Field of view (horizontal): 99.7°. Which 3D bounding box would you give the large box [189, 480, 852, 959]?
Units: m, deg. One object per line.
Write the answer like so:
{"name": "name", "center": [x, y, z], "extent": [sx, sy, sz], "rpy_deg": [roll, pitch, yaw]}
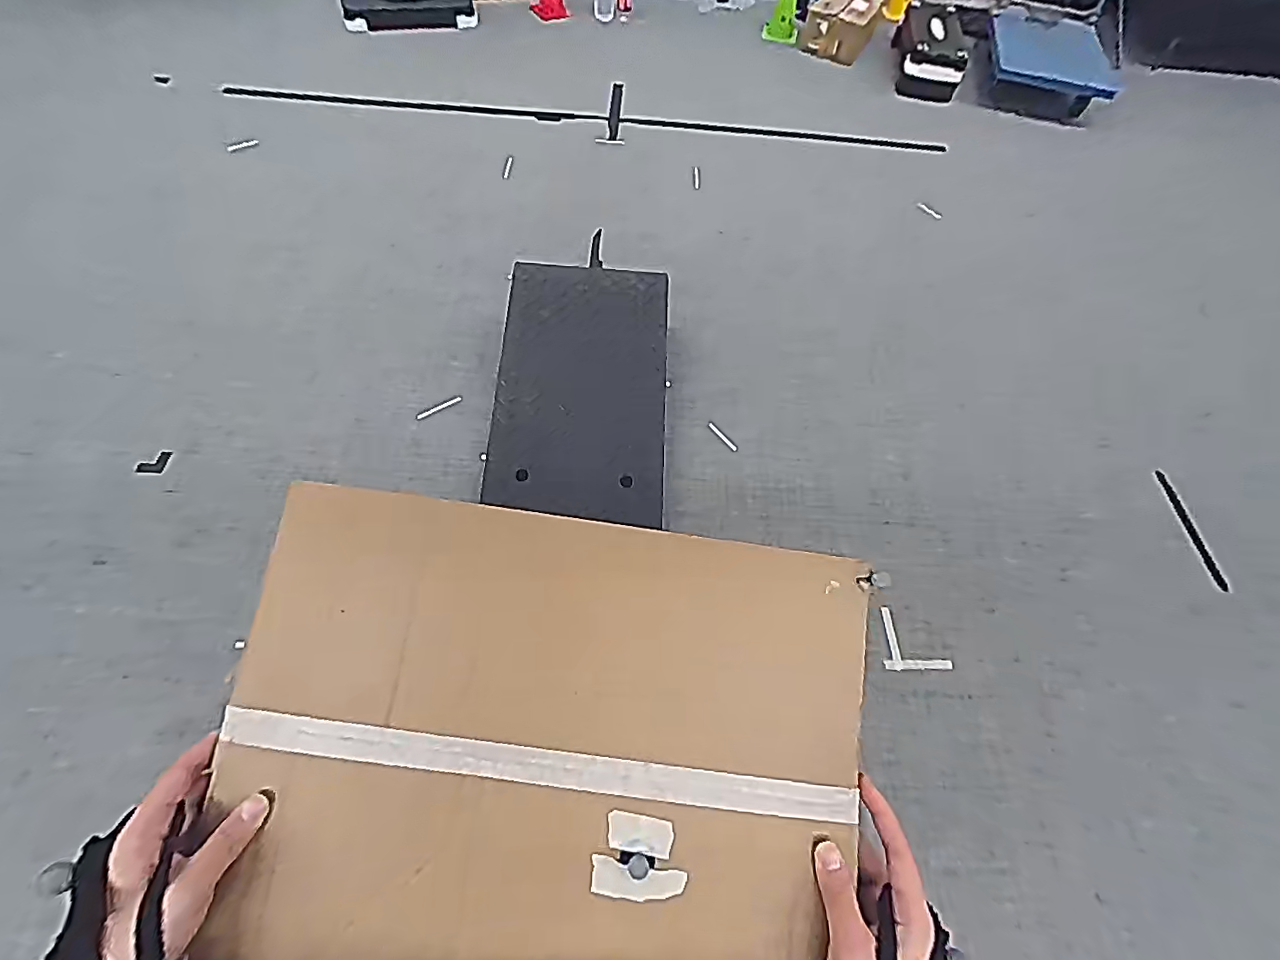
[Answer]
{"name": "large box", "center": [-0.068, 0.201, 0.505], "extent": [0.408, 0.320, 0.320], "rpy_deg": [8, 80, -1]}
